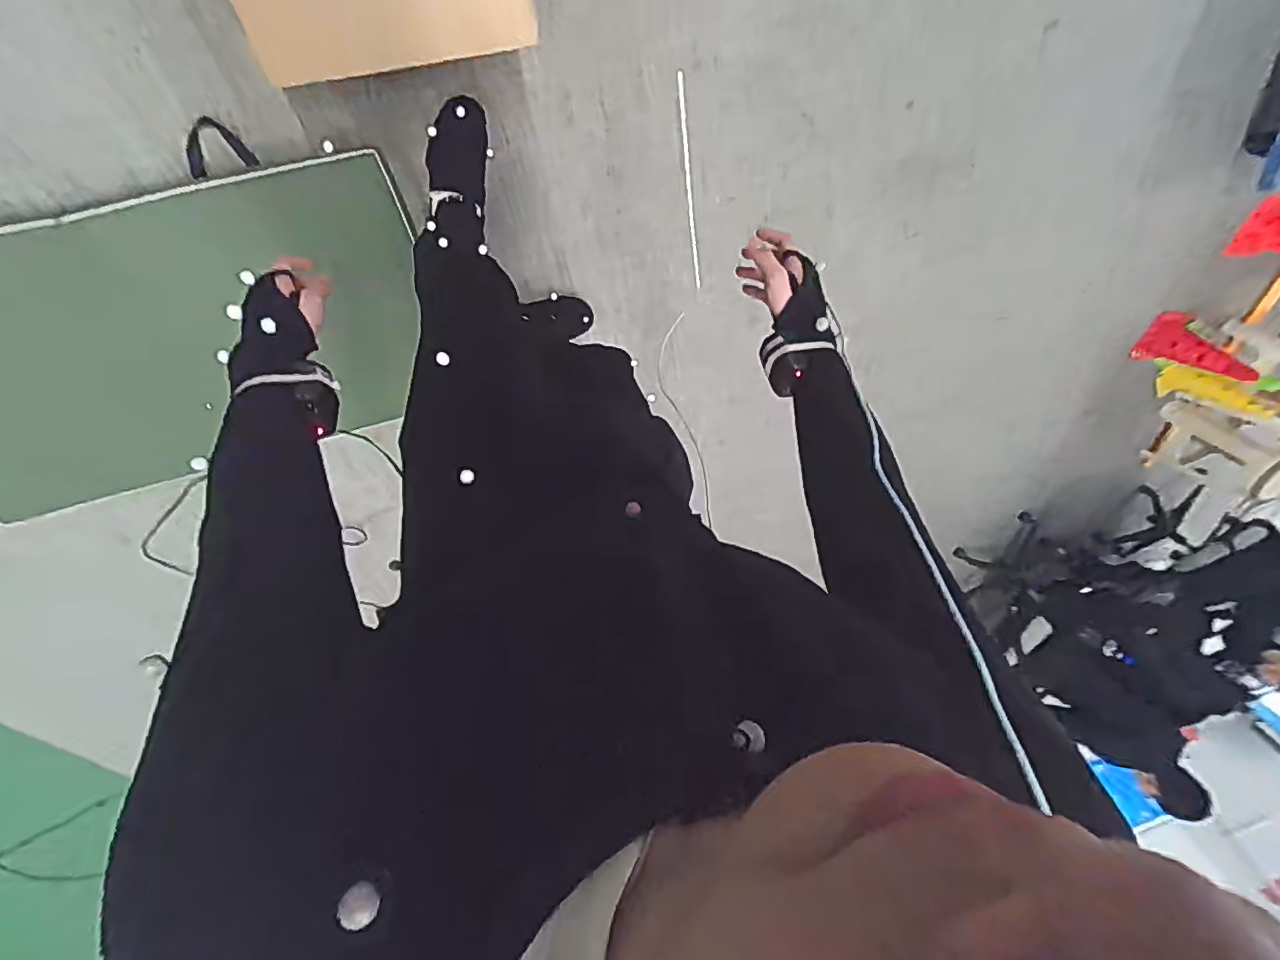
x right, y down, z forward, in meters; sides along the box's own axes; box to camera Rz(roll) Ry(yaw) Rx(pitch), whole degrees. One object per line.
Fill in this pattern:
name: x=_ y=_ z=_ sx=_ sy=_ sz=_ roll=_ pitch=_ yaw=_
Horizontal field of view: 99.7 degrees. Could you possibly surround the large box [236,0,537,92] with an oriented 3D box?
large box: x=-0.409 y=-0.831 z=0.832 sx=0.408 sy=0.320 sz=0.320 roll=-16 pitch=133 yaw=-8
